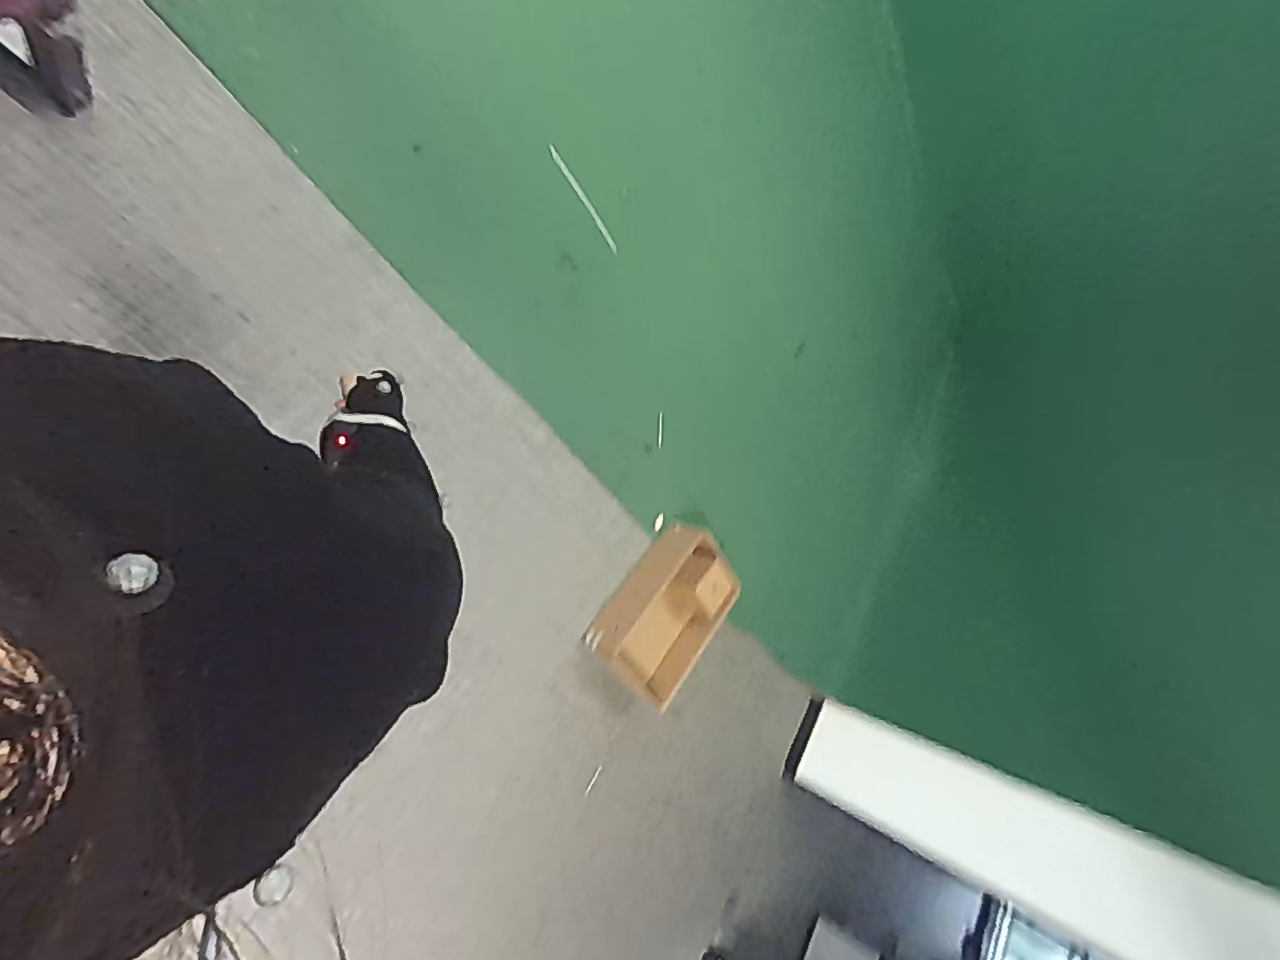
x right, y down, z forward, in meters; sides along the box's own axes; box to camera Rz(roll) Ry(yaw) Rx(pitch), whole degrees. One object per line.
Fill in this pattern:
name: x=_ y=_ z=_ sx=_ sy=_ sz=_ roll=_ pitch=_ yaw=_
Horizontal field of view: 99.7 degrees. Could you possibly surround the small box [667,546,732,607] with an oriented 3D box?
small box: x=0.241 y=0.388 z=2.218 sx=0.168 sy=0.176 sz=0.179 roll=-48 pitch=126 yaw=-25
